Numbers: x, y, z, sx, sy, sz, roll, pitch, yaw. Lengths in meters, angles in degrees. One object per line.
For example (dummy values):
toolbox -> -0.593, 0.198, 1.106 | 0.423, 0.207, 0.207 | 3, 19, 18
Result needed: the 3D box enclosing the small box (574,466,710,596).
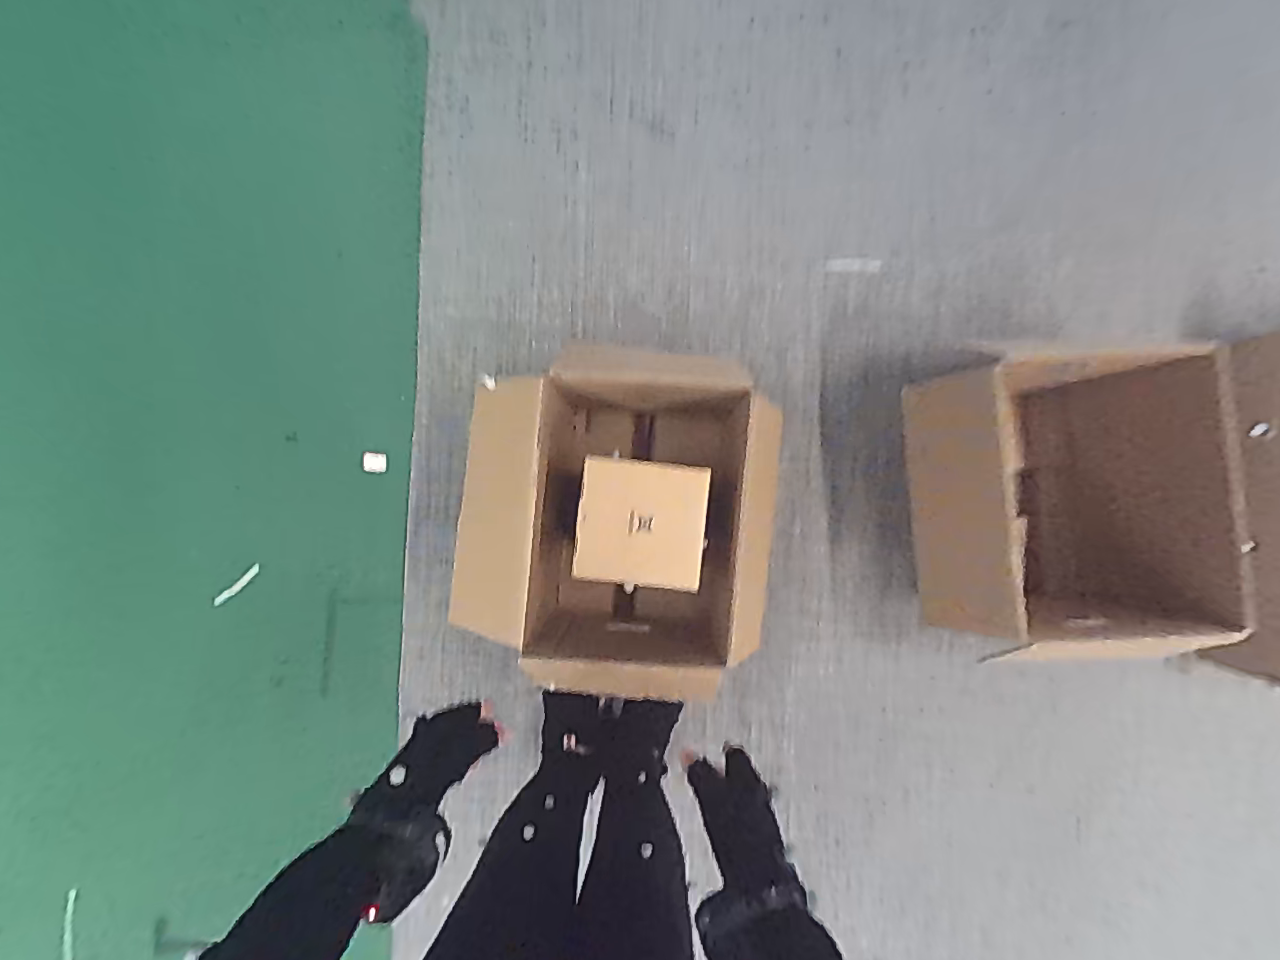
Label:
small box -> 0.003, 0.074, 0.829 | 0.179, 0.176, 0.168 | 6, 87, 0
